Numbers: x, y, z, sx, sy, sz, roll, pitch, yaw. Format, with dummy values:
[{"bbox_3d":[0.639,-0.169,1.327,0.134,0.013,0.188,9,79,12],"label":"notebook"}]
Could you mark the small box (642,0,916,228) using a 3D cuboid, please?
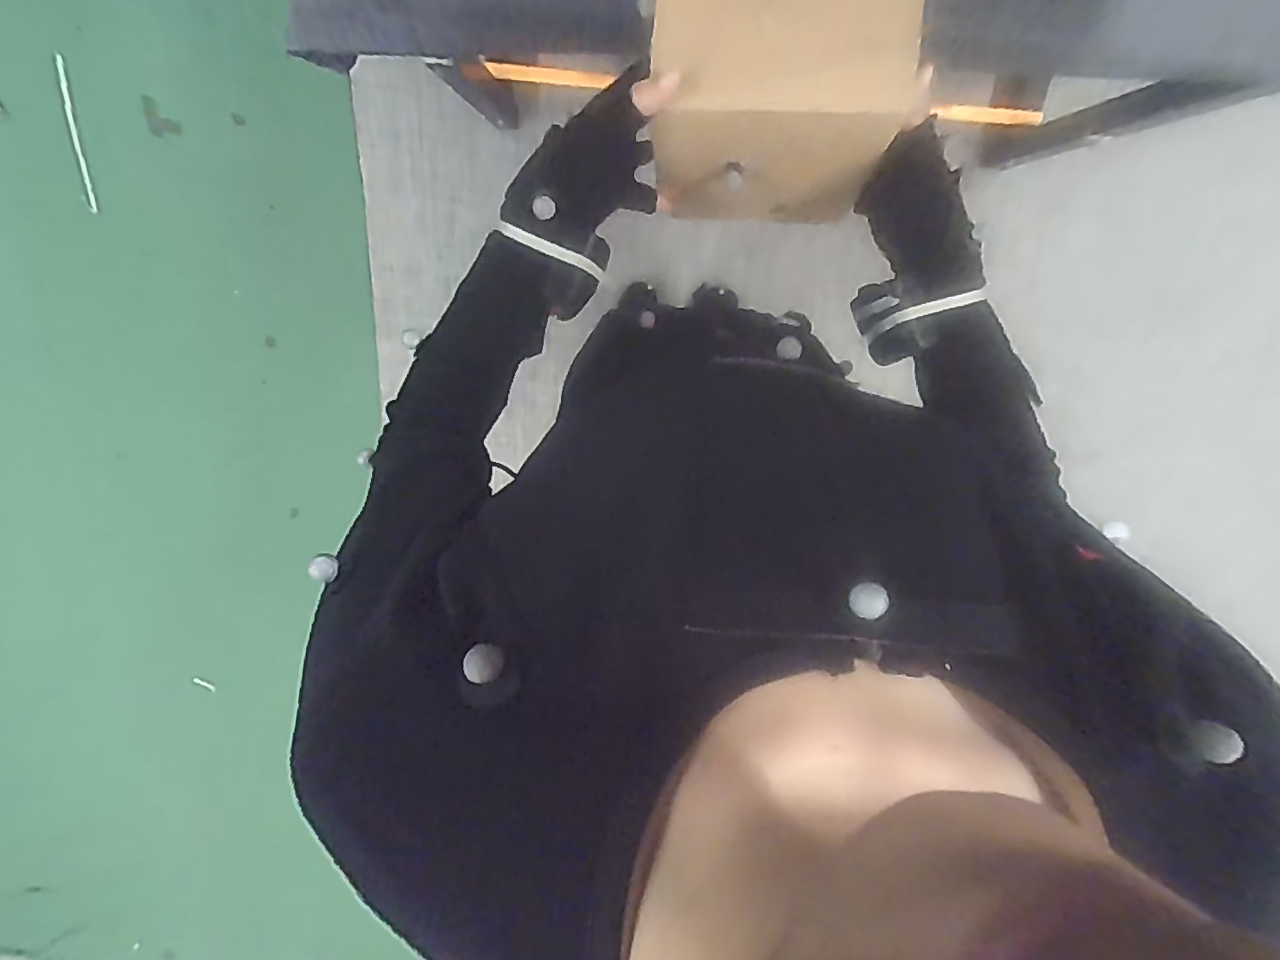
[{"bbox_3d":[0.099,-0.315,0.417,0.168,0.176,0.179,5,91,6],"label":"small box"}]
